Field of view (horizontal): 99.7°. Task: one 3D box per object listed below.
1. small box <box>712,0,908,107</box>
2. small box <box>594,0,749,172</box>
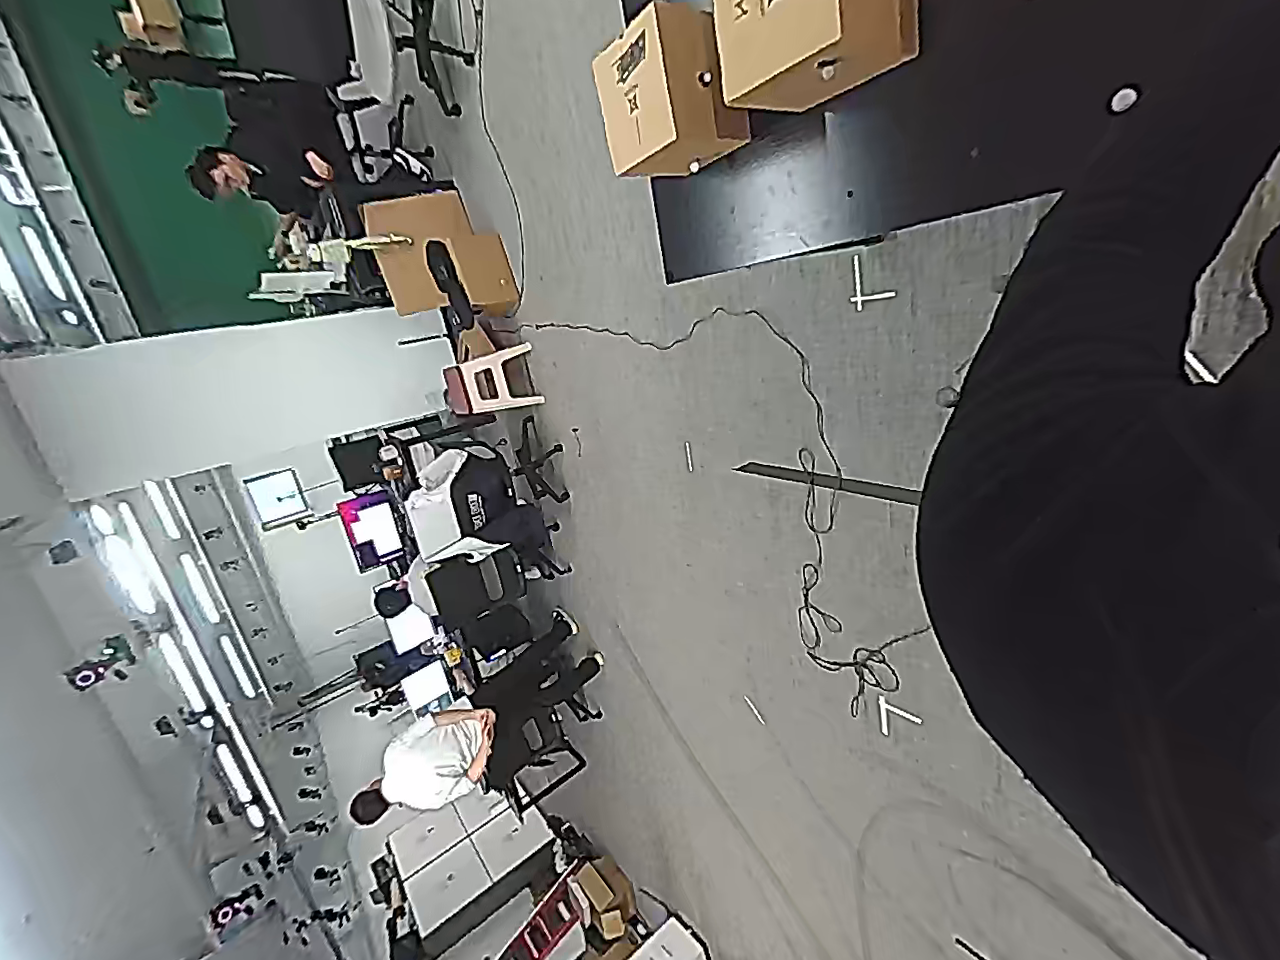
[{"bbox_3d":[0.212,-0.588,0.666,0.179,0.176,0.168,12,118,52],"label":"small box"},{"bbox_3d":[0.054,-0.622,0.879,0.168,0.176,0.179,10,118,54],"label":"small box"}]
